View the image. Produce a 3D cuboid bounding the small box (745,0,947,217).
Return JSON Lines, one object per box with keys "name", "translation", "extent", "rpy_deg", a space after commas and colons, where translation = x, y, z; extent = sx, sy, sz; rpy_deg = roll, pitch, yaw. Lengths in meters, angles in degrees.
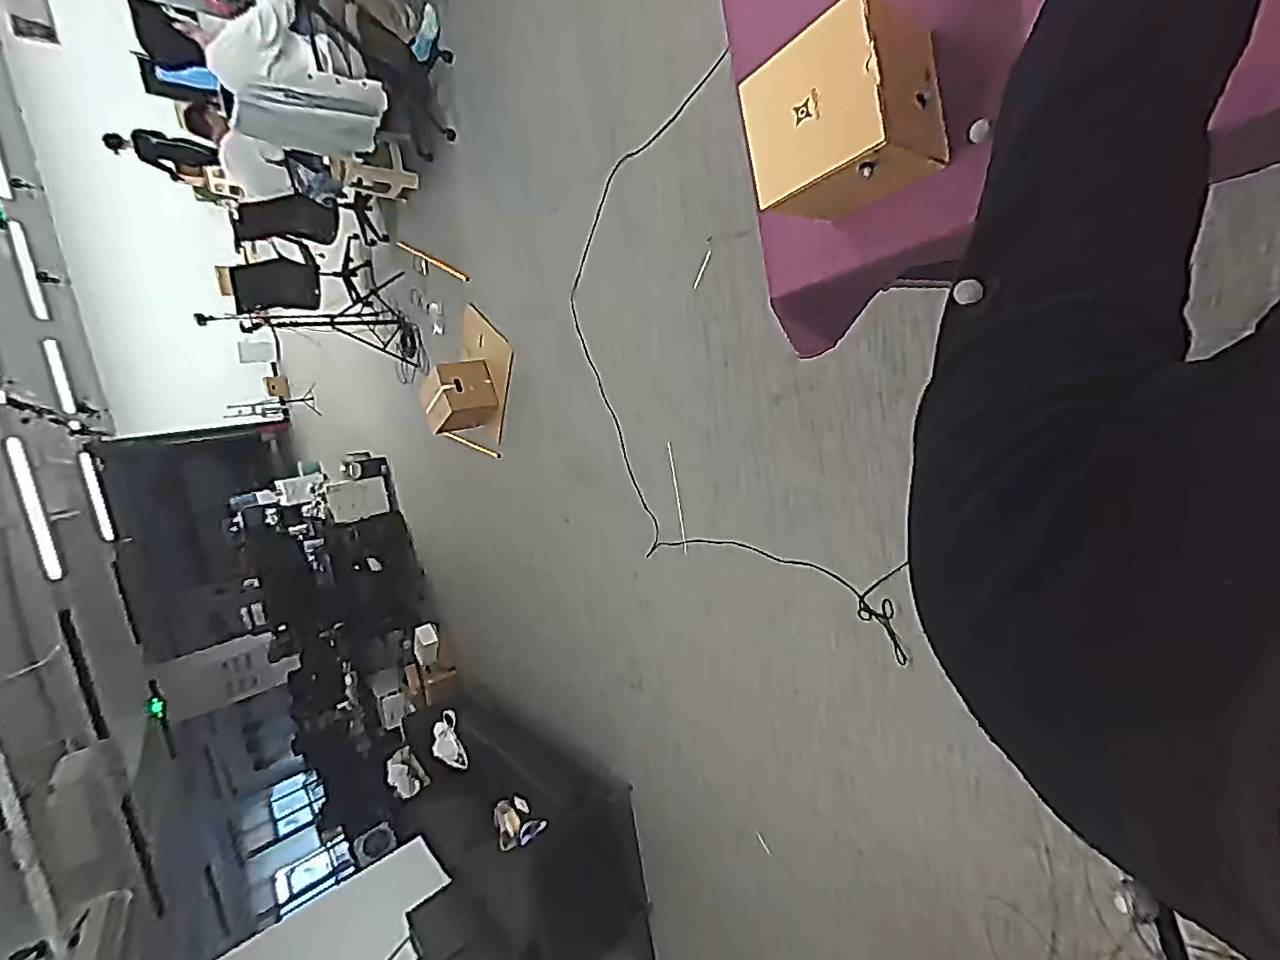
{"name": "small box", "translation": [0.267, -0.465, 0.705], "extent": [0.179, 0.176, 0.168], "rpy_deg": [-6, 96, 51]}
